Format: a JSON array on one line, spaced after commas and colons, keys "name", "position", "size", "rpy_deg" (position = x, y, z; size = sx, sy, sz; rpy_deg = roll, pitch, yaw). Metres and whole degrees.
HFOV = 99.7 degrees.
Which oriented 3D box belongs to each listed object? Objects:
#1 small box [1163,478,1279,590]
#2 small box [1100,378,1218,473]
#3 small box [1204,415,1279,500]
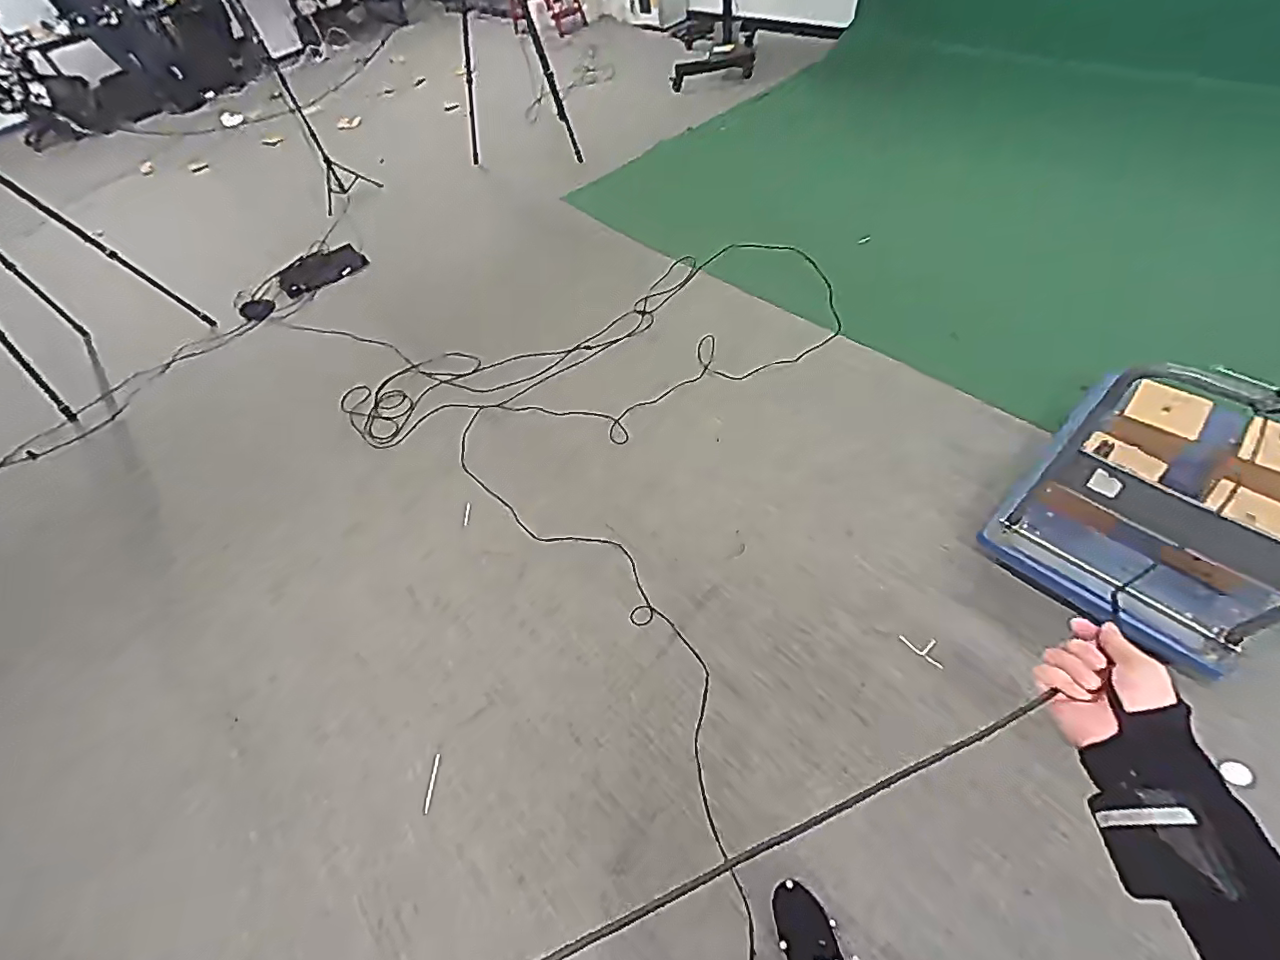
[{"name": "small box", "position": [1.453, 0.135, 1.327], "size": [0.179, 0.176, 0.168], "rpy_deg": [-40, 57, -18]}, {"name": "small box", "position": [1.464, -0.151, 1.538], "size": [0.168, 0.176, 0.179], "rpy_deg": [34, 66, 29]}, {"name": "small box", "position": [1.647, -0.031, 1.415], "size": [0.168, 0.176, 0.179], "rpy_deg": [33, 66, 30]}]
